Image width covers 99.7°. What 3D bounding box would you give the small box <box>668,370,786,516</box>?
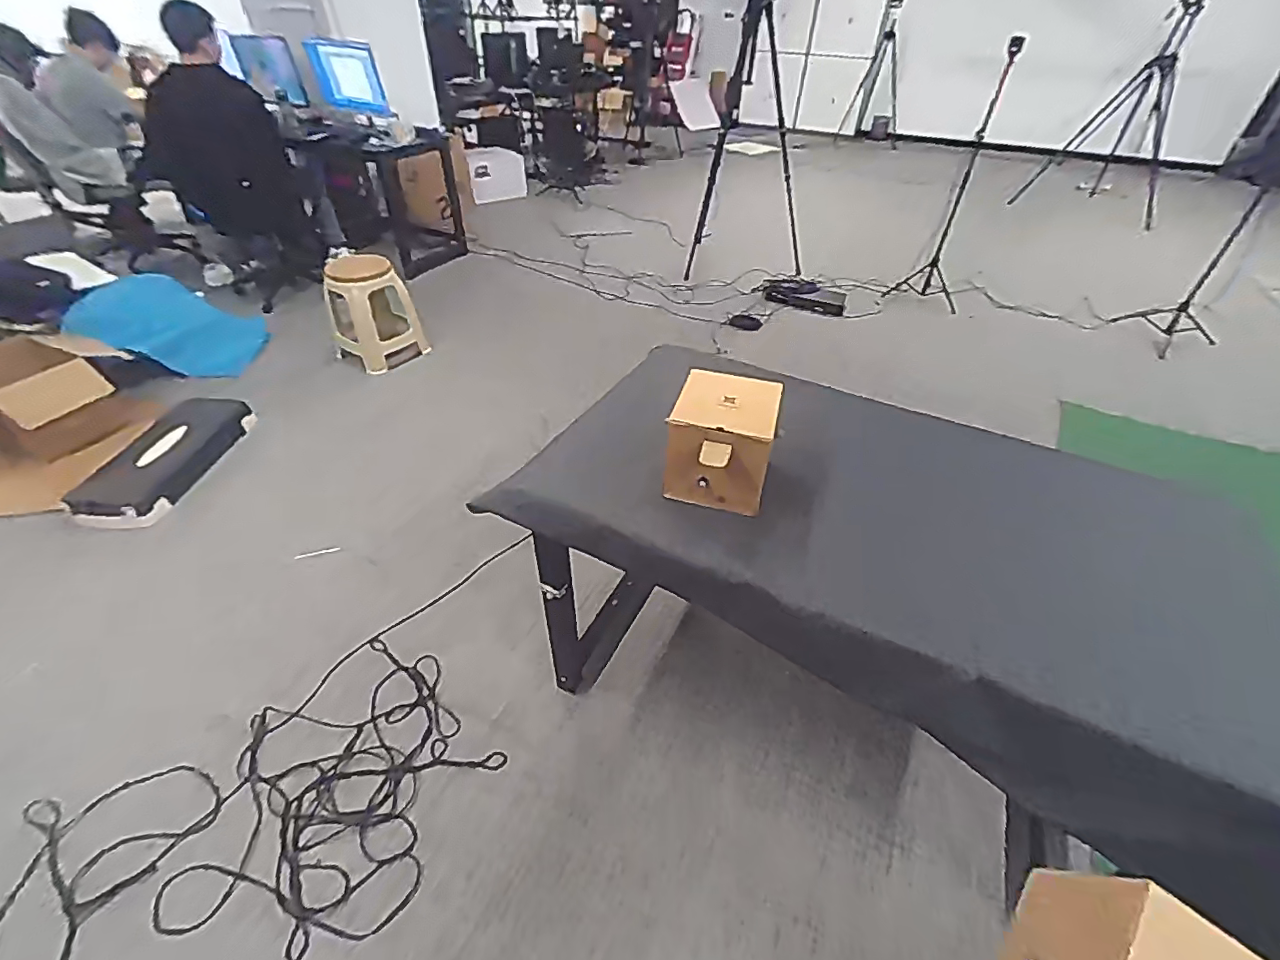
[{"bbox_3d":[0.150,-0.067,0.952,0.168,0.176,0.179,12,42,11],"label":"small box"}]
